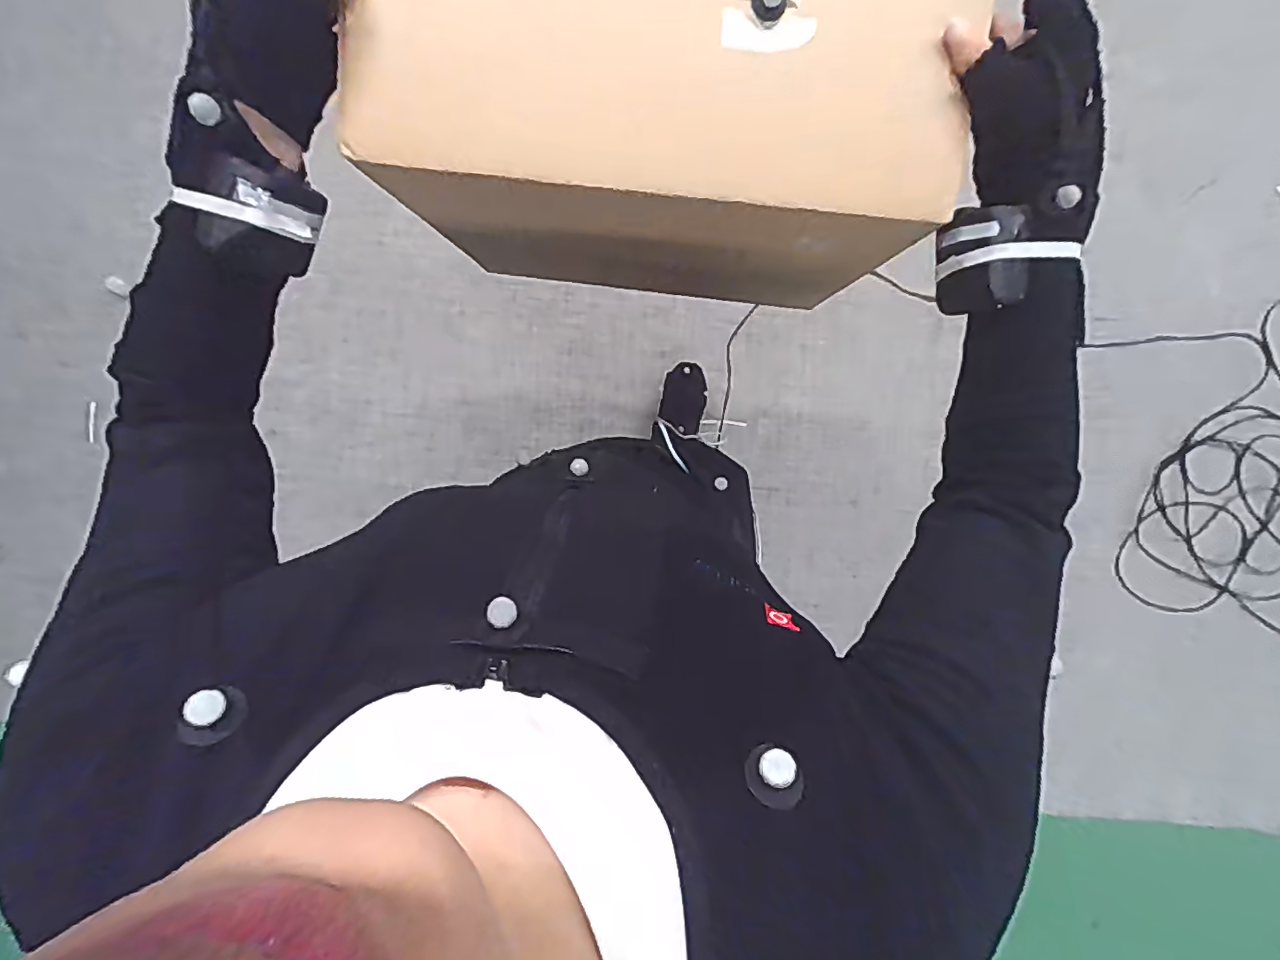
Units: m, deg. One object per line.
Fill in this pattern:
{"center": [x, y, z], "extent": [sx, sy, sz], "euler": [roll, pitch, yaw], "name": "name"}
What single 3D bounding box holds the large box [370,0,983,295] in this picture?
{"center": [0.029, -0.373, 0.493], "extent": [0.408, 0.320, 0.320], "euler": [6, 99, 1], "name": "large box"}
